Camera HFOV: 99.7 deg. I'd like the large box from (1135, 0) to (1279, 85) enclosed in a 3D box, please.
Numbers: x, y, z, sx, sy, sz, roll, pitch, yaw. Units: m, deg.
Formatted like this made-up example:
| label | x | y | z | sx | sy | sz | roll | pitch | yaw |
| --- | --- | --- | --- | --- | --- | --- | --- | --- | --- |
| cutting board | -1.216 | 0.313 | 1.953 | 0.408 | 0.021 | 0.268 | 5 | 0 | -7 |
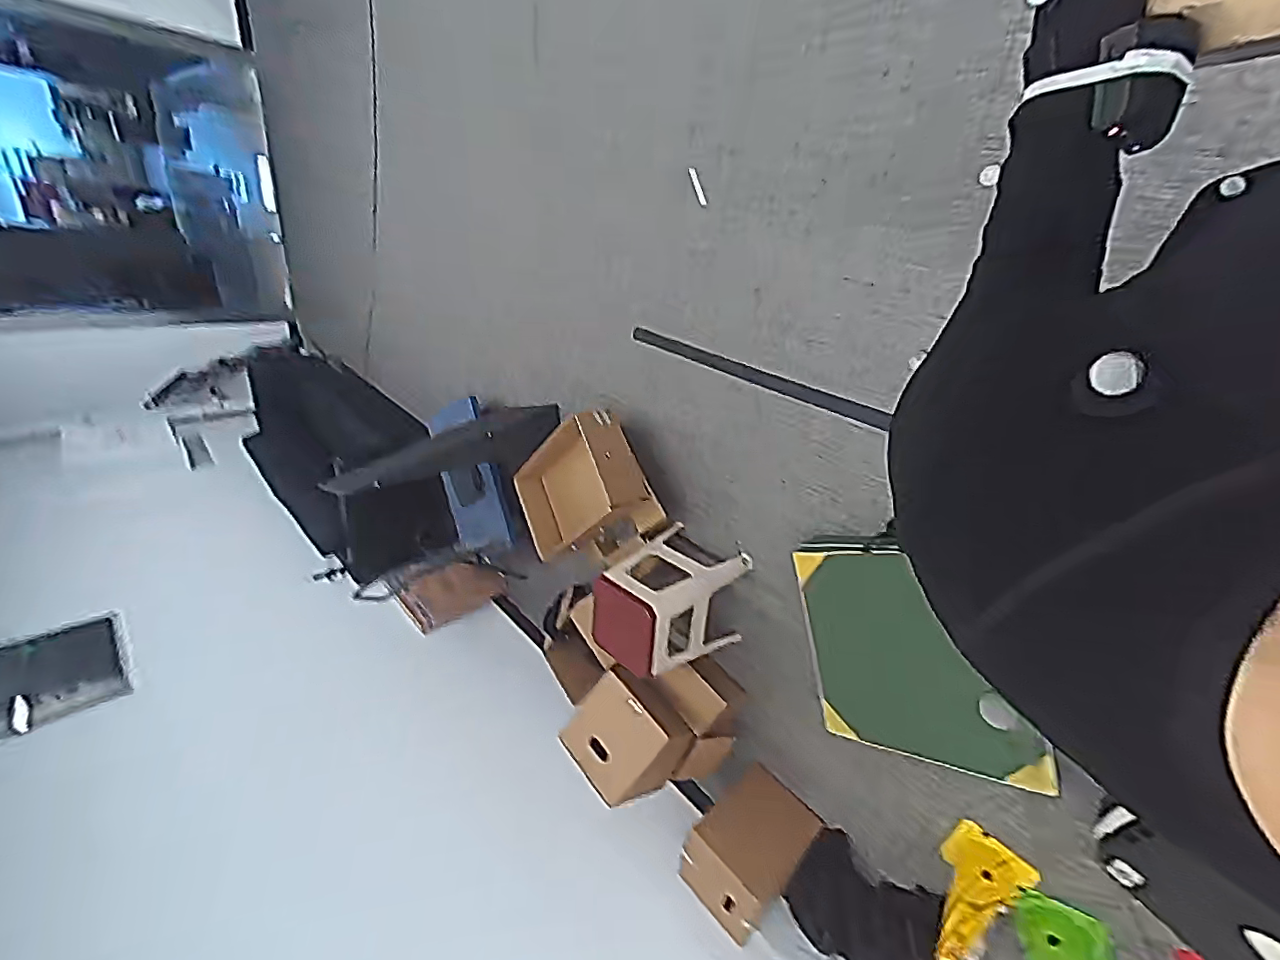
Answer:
| label | x | y | z | sx | sy | sz | roll | pitch | yaw |
| --- | --- | --- | --- | --- | --- | --- | --- | --- | --- |
| large box | 0.575 | -0.442 | 0.283 | 0.408 | 0.320 | 0.320 | 18 | 129 | 40 |
